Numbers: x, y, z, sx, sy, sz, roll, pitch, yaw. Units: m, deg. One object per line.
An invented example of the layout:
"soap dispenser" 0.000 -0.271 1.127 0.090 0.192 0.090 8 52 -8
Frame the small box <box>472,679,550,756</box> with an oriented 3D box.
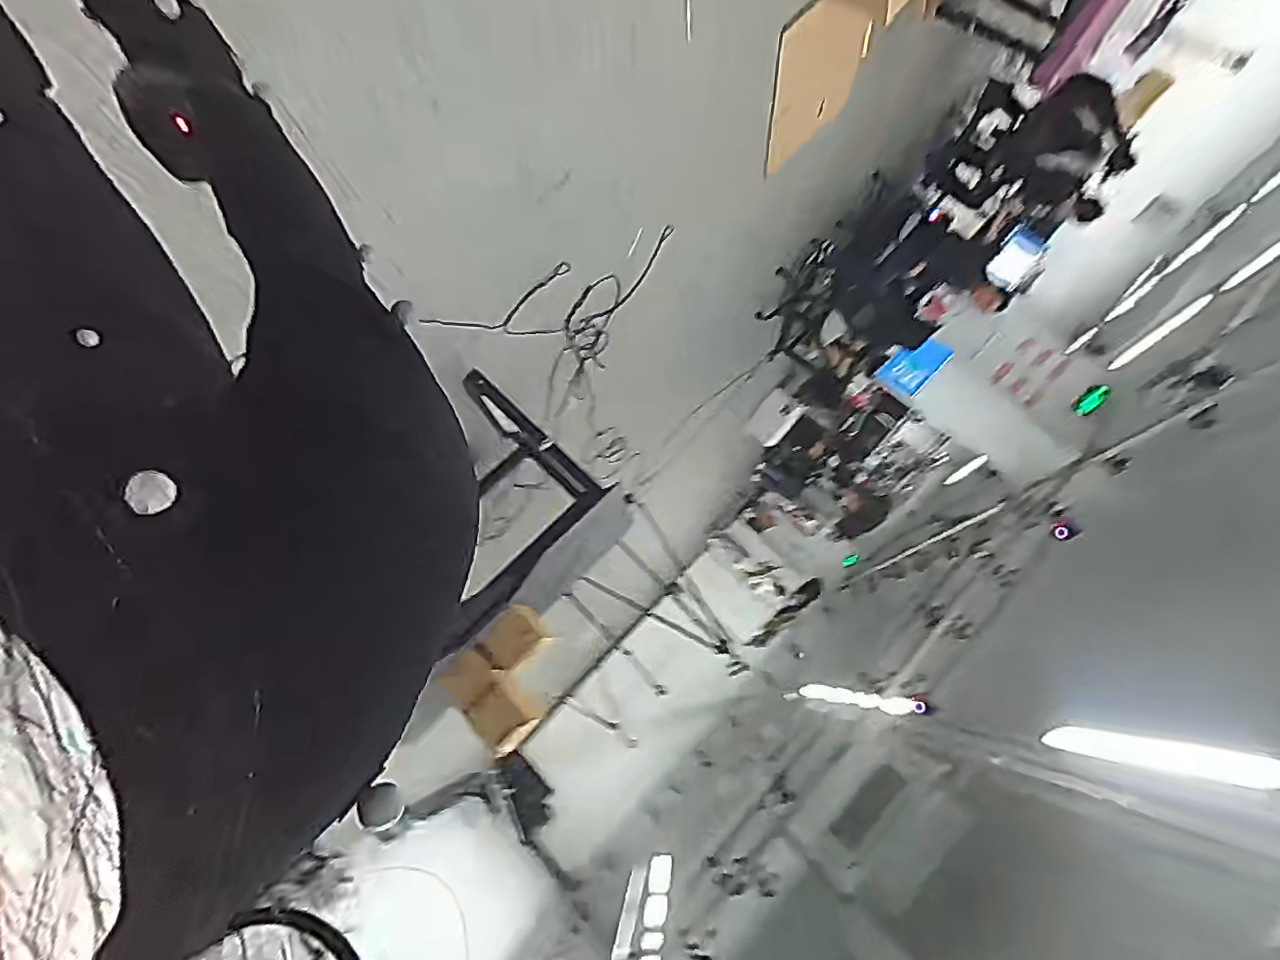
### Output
"small box" -0.442 0.806 1.852 0.168 0.176 0.179 -45 164 -8
